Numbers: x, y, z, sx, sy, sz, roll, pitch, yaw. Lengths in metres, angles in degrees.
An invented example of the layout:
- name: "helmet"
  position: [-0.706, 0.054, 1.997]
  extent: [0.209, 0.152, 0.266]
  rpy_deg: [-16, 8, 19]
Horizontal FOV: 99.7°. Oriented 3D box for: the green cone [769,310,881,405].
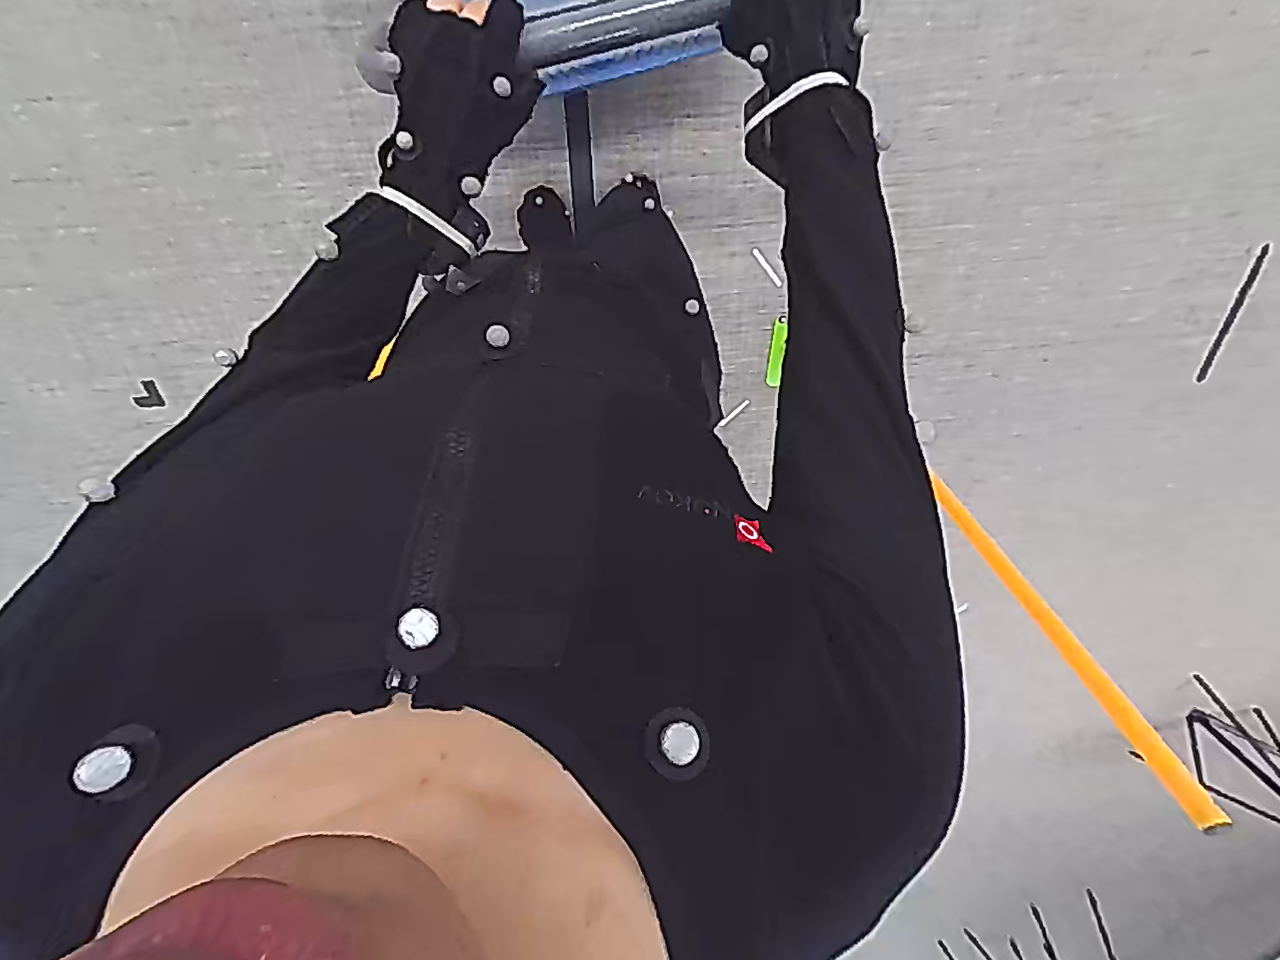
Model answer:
- name: "green cone"
  position: [0.476, -0.271, 1.323]
  extent: [0.202, 0.368, 0.200]
  rpy_deg: [-2, 122, -7]
